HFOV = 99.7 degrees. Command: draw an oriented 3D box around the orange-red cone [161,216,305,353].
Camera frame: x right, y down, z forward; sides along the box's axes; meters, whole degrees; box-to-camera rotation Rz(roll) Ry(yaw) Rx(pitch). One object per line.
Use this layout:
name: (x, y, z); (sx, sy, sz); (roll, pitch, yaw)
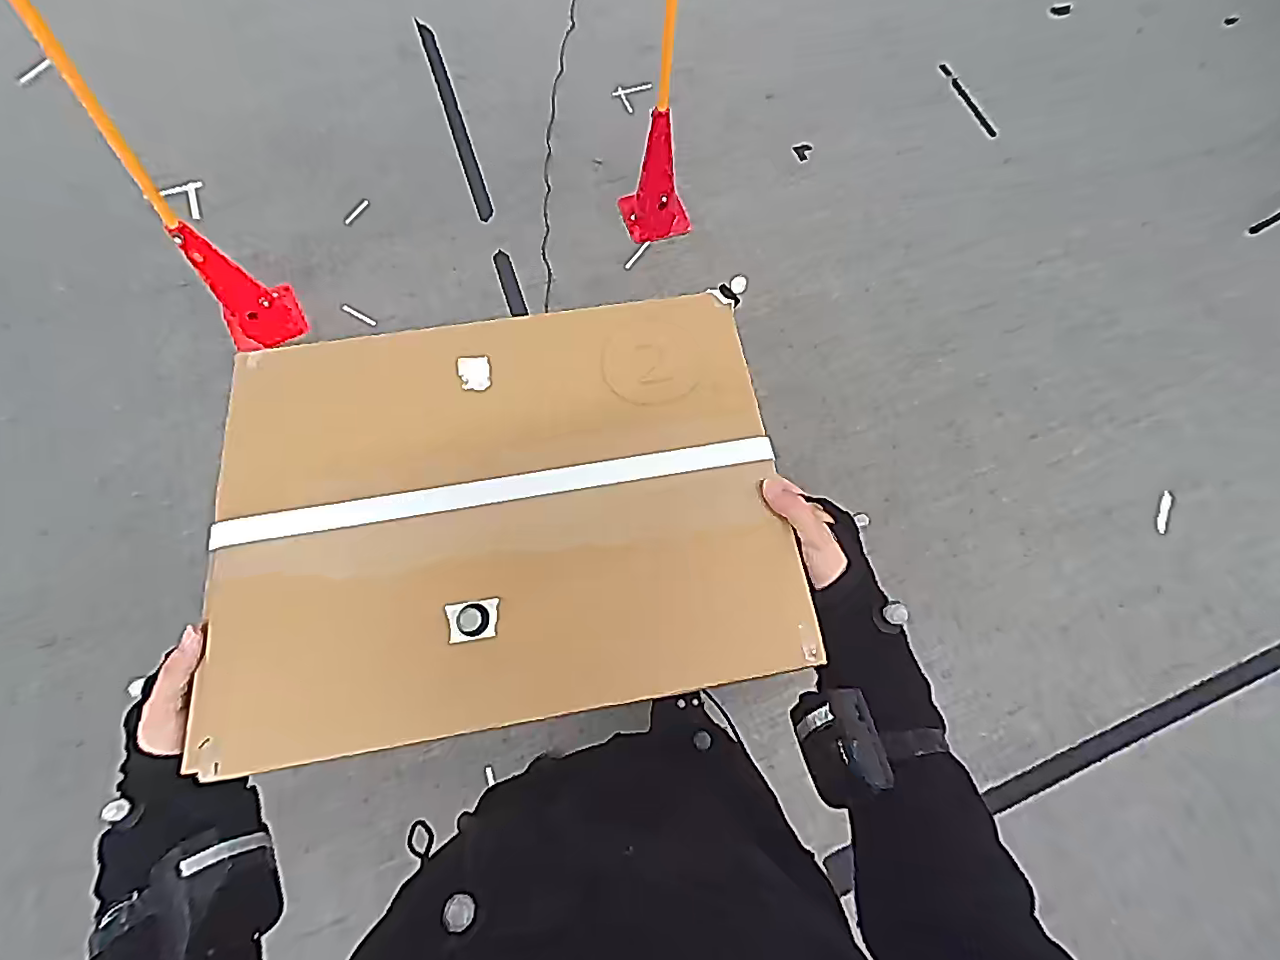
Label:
orange-red cone: (-1.072, -0.522, 1.386); (0.199, 0.360, 0.198); (-27, 73, -11)
